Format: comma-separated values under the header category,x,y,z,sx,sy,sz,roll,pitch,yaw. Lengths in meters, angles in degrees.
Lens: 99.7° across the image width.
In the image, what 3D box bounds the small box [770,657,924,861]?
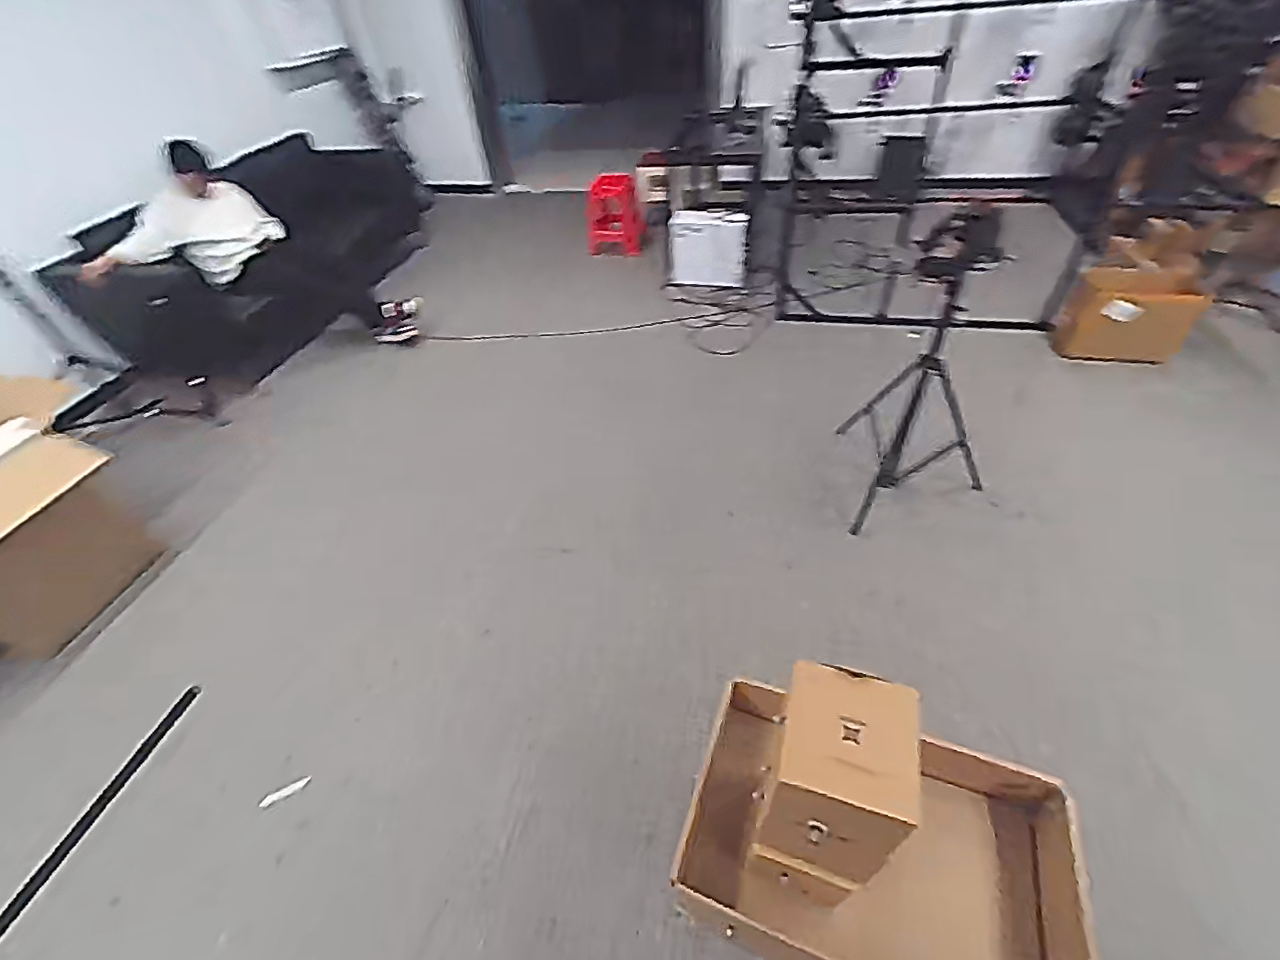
category,x,y,z,sx,sy,sz,roll,pitch,yaw
small box,0.280,0.383,0.749,0.168,0.176,0.179,11,45,17

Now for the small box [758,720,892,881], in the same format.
category,x,y,z,sx,sy,sz,roll,pitch,yaw
small box,0.295,0.502,0.861,0.179,0.176,0.168,14,47,18

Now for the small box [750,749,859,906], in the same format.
category,x,y,z,sx,sy,sz,roll,pitch,yaw
small box,0.298,0.625,0.971,0.168,0.176,0.179,13,46,16
